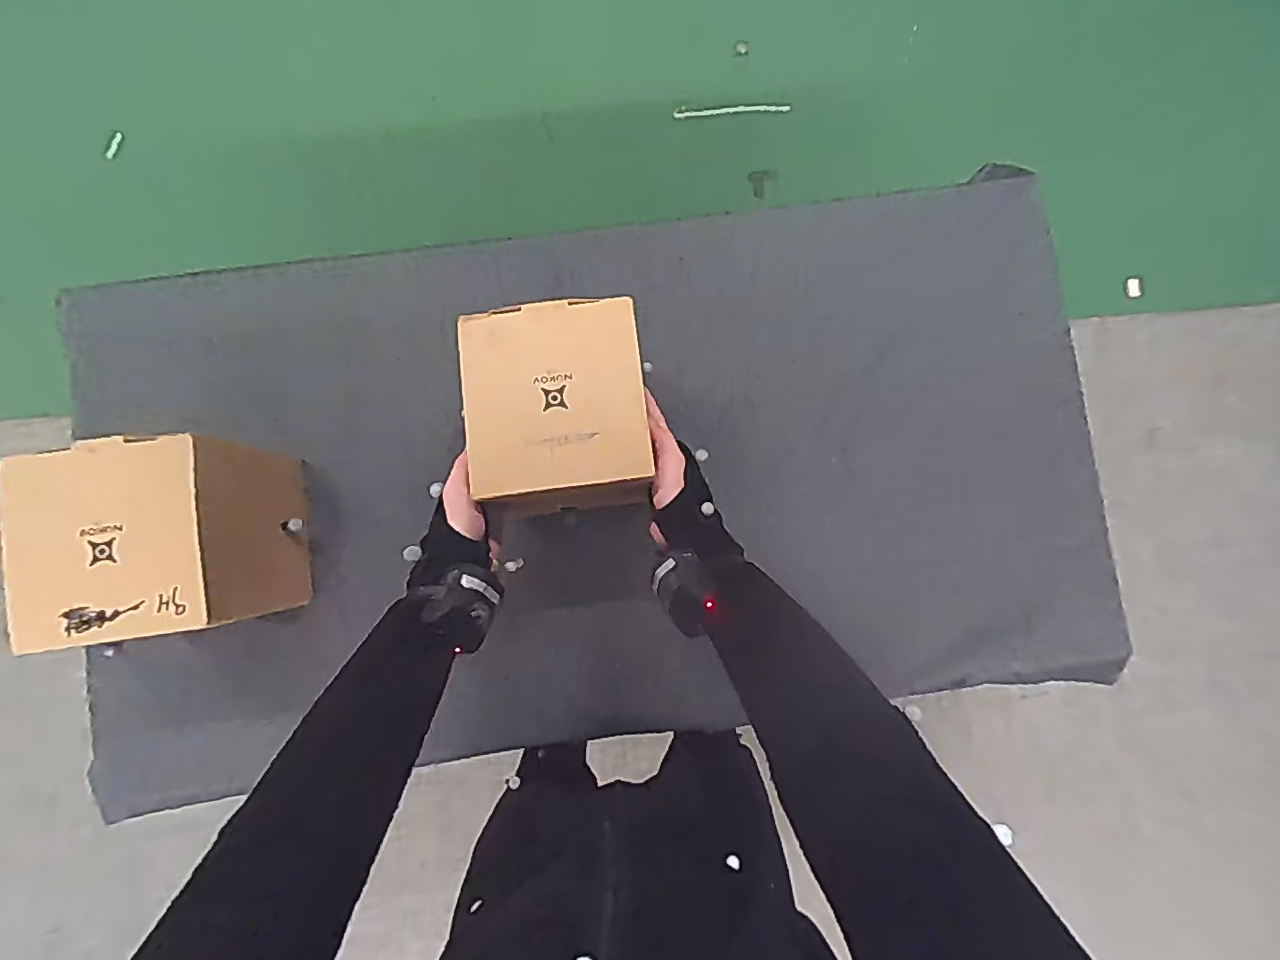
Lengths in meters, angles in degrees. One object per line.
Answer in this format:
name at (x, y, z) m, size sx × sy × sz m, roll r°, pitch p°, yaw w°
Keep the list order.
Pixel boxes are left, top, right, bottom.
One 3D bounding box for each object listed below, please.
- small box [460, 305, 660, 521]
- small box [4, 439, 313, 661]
small box at (-0.075, -0.057, 0.566) m, size 0.168 × 0.176 × 0.179 m, roll -8°, pitch 83°, yaw -1°
small box at (-0.464, 0.067, 0.547) m, size 0.168 × 0.176 × 0.179 m, roll -8°, pitch 85°, yaw -1°
